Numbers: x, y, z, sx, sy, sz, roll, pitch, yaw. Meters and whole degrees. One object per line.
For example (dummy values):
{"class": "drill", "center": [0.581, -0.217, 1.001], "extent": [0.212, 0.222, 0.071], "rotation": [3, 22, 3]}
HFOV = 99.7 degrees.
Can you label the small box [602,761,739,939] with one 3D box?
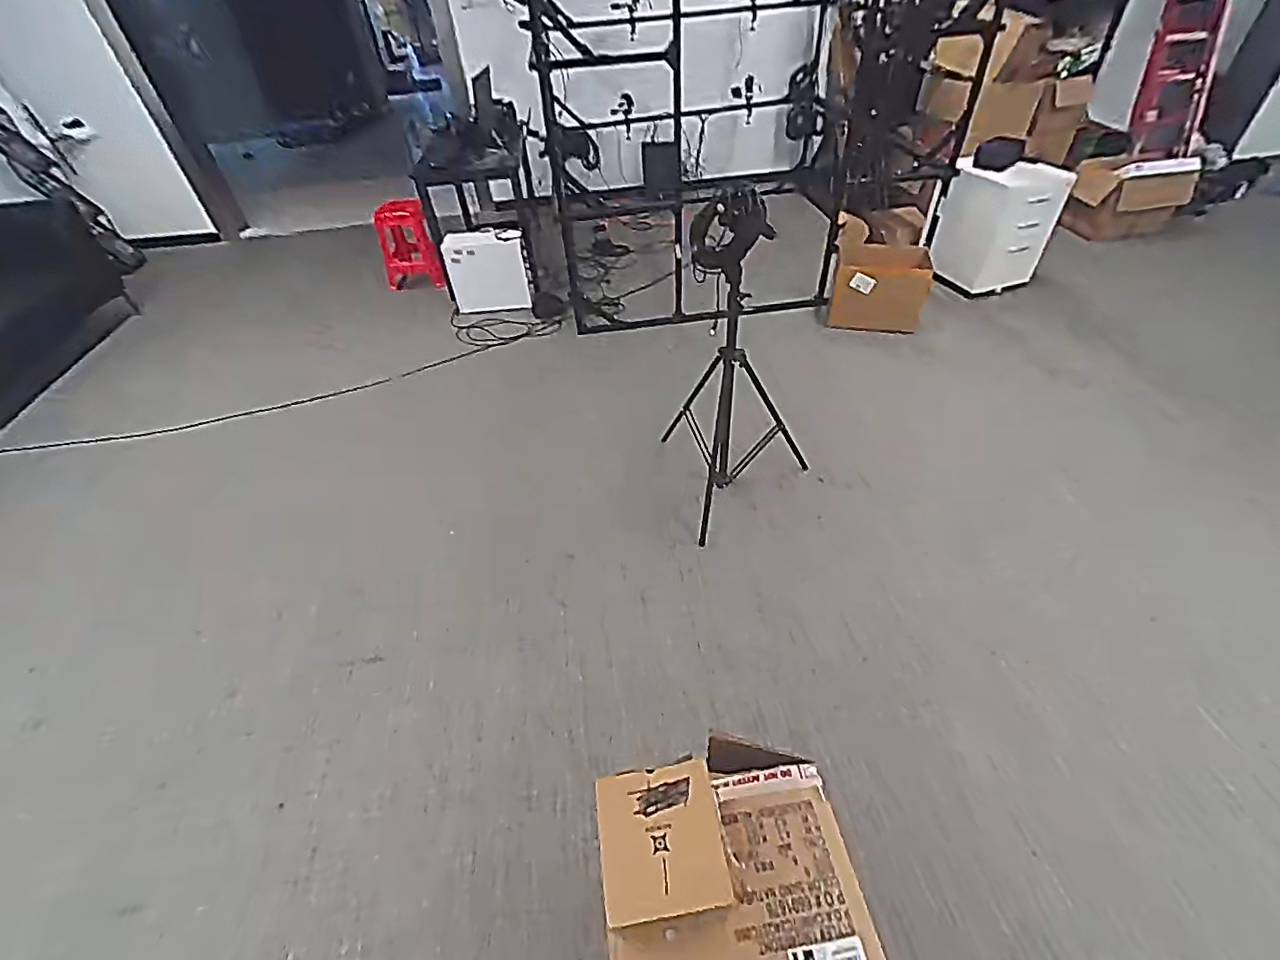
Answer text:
{"class": "small box", "center": [0.040, 0.542, 0.792], "extent": [0.168, 0.176, 0.179], "rotation": [-10, 47, -2]}
